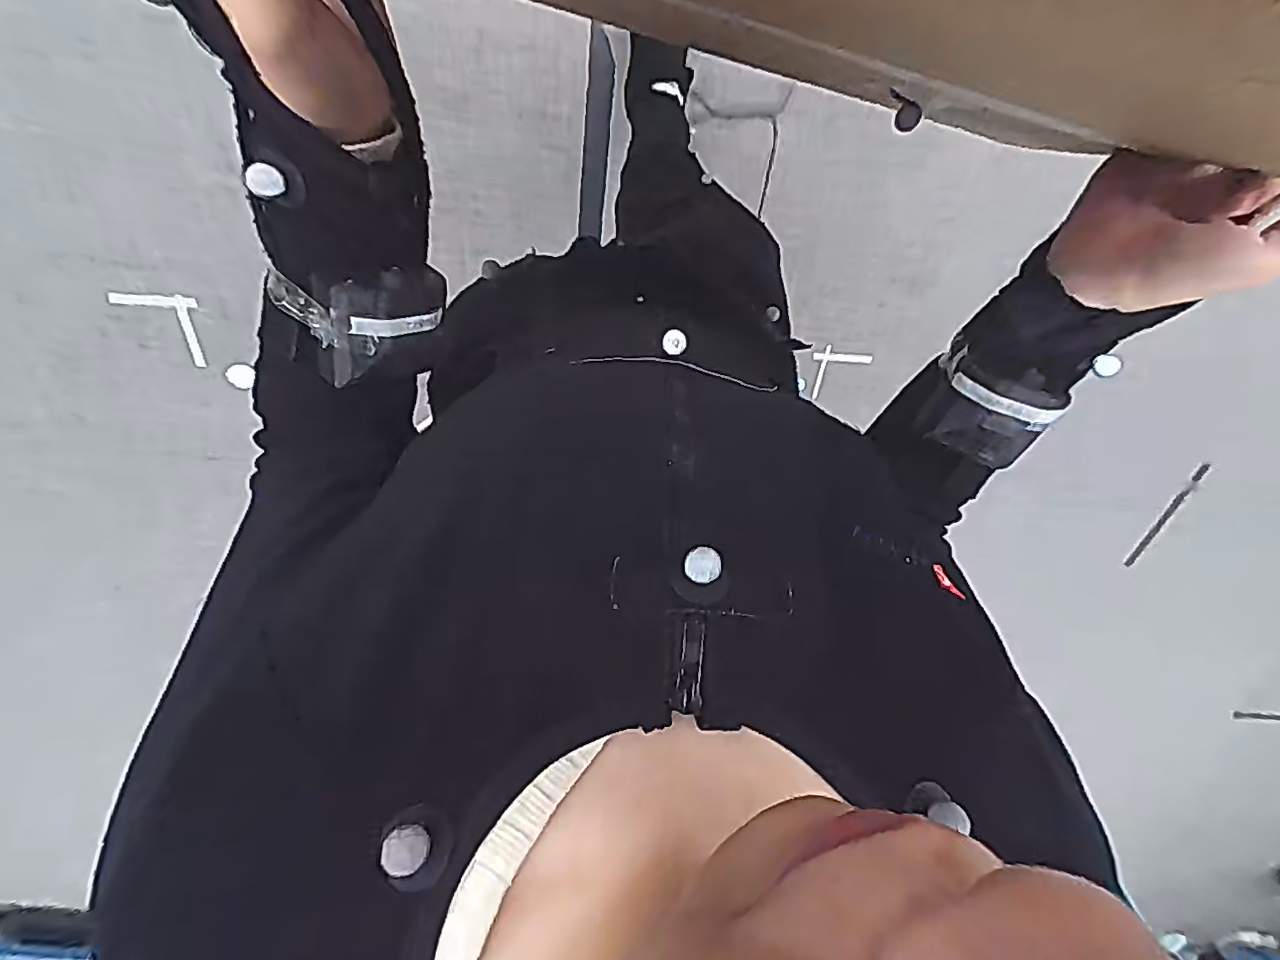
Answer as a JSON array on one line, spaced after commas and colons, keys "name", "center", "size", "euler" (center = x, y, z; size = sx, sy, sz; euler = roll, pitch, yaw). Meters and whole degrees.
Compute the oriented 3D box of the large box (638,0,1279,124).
[{"name": "large box", "center": [0.111, -0.316, 0.127], "size": [0.408, 0.320, 0.320], "euler": [6, 124, -12]}]
